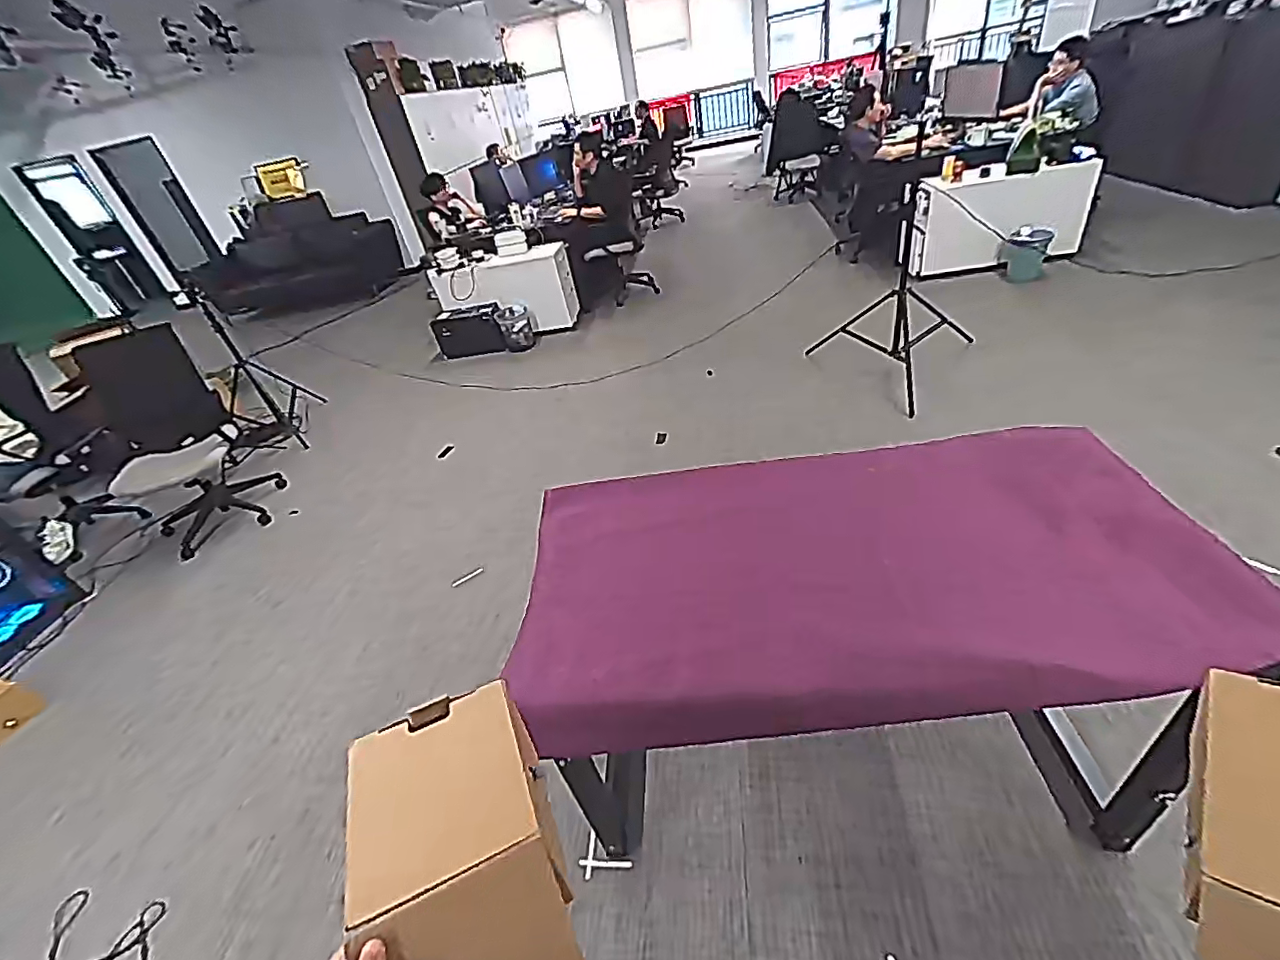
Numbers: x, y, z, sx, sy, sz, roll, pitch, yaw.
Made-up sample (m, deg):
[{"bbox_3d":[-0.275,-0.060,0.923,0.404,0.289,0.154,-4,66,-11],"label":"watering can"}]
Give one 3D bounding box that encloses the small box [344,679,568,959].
[{"bbox_3d":[-0.186,0.354,0.565,0.168,0.176,0.179,-19,36,-15],"label":"small box"}]
